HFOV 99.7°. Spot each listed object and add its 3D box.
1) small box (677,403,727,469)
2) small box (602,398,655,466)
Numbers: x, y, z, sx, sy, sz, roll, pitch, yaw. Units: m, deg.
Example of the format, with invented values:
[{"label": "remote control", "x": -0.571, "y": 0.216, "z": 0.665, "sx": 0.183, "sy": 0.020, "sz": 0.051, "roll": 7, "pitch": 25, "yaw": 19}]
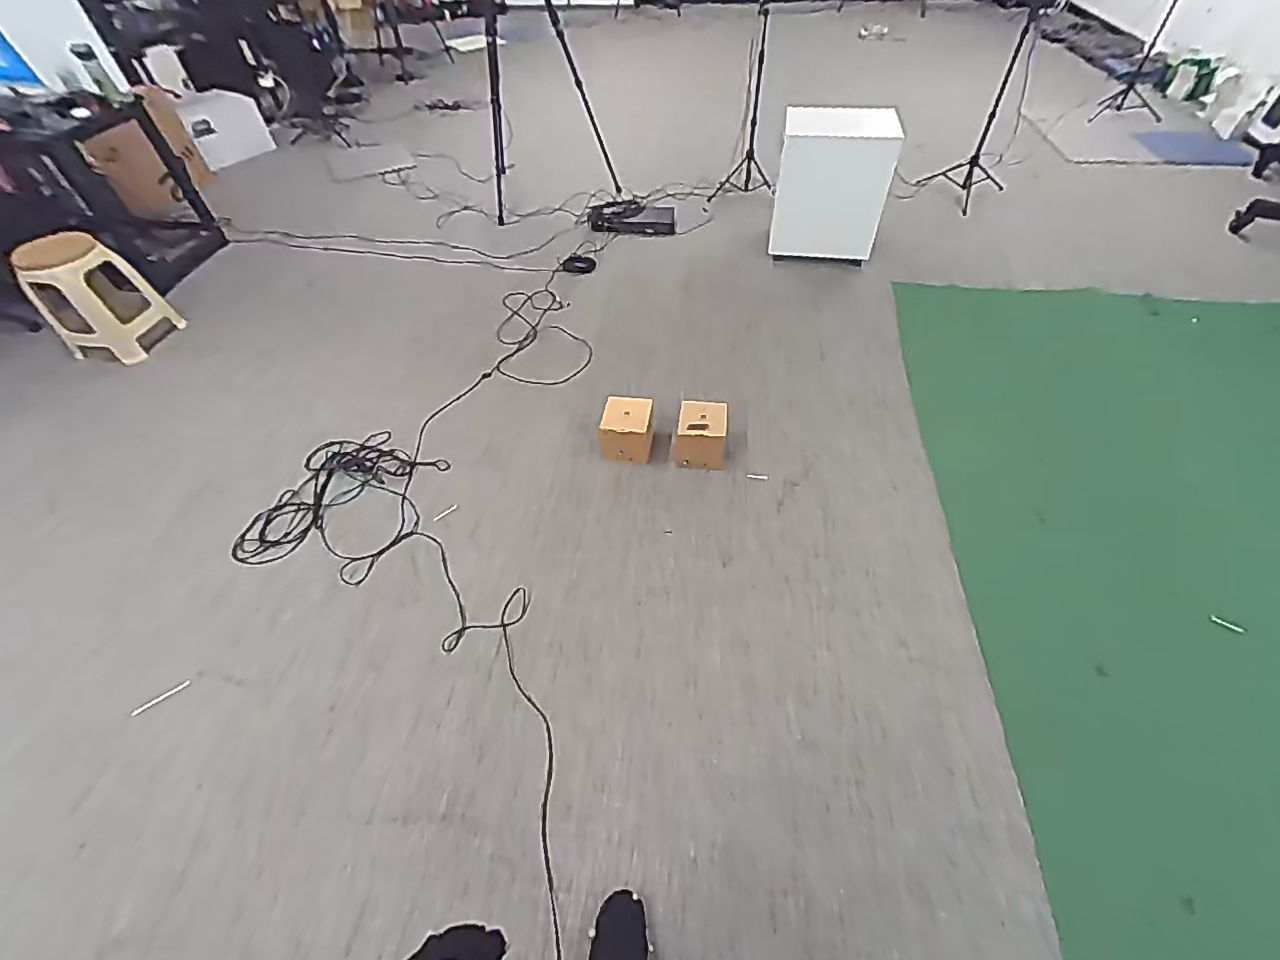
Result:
[{"label": "small box", "x": 0.225, "y": -0.157, "z": 1.952, "sx": 0.168, "sy": 0.176, "sz": 0.179, "roll": 5, "pitch": 49, "yaw": 7}, {"label": "small box", "x": -0.039, "y": -0.176, "z": 1.984, "sx": 0.168, "sy": 0.176, "sz": 0.179, "roll": 5, "pitch": 50, "yaw": 7}]
